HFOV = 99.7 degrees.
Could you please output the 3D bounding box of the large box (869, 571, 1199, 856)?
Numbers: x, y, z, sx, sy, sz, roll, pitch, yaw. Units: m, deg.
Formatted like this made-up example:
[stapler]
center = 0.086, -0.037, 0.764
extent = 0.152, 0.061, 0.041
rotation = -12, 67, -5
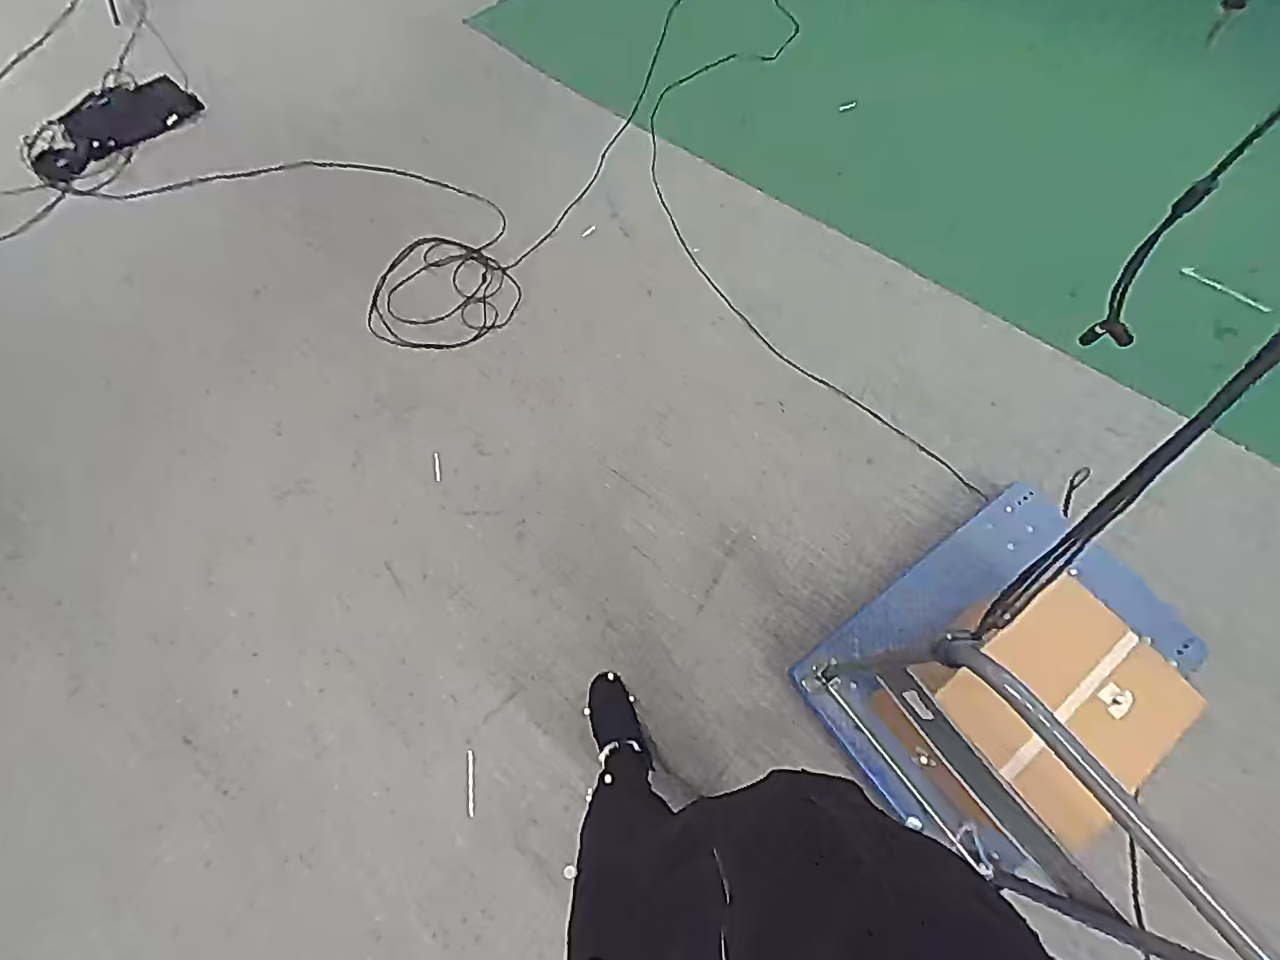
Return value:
[large box]
center = 0.770, 0.461, 1.114
extent = 0.408, 0.320, 0.320
rotation = -34, 72, -15
